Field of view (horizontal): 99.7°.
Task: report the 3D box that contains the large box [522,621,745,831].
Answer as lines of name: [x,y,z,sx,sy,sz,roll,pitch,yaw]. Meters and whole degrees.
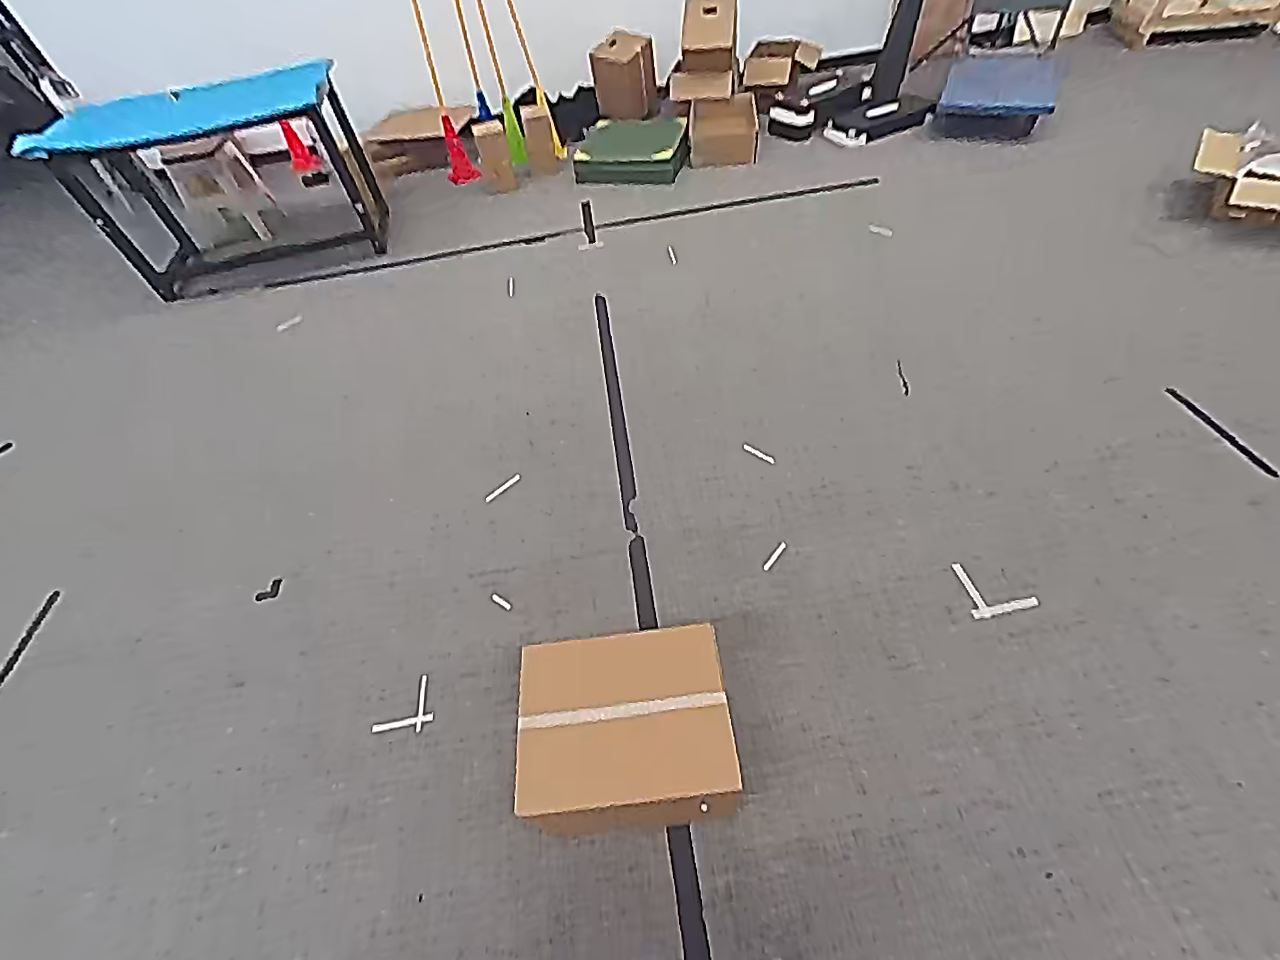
large box: [-0.011,0.533,1.156,0.408,0.320,0.320,-8,50,1]
